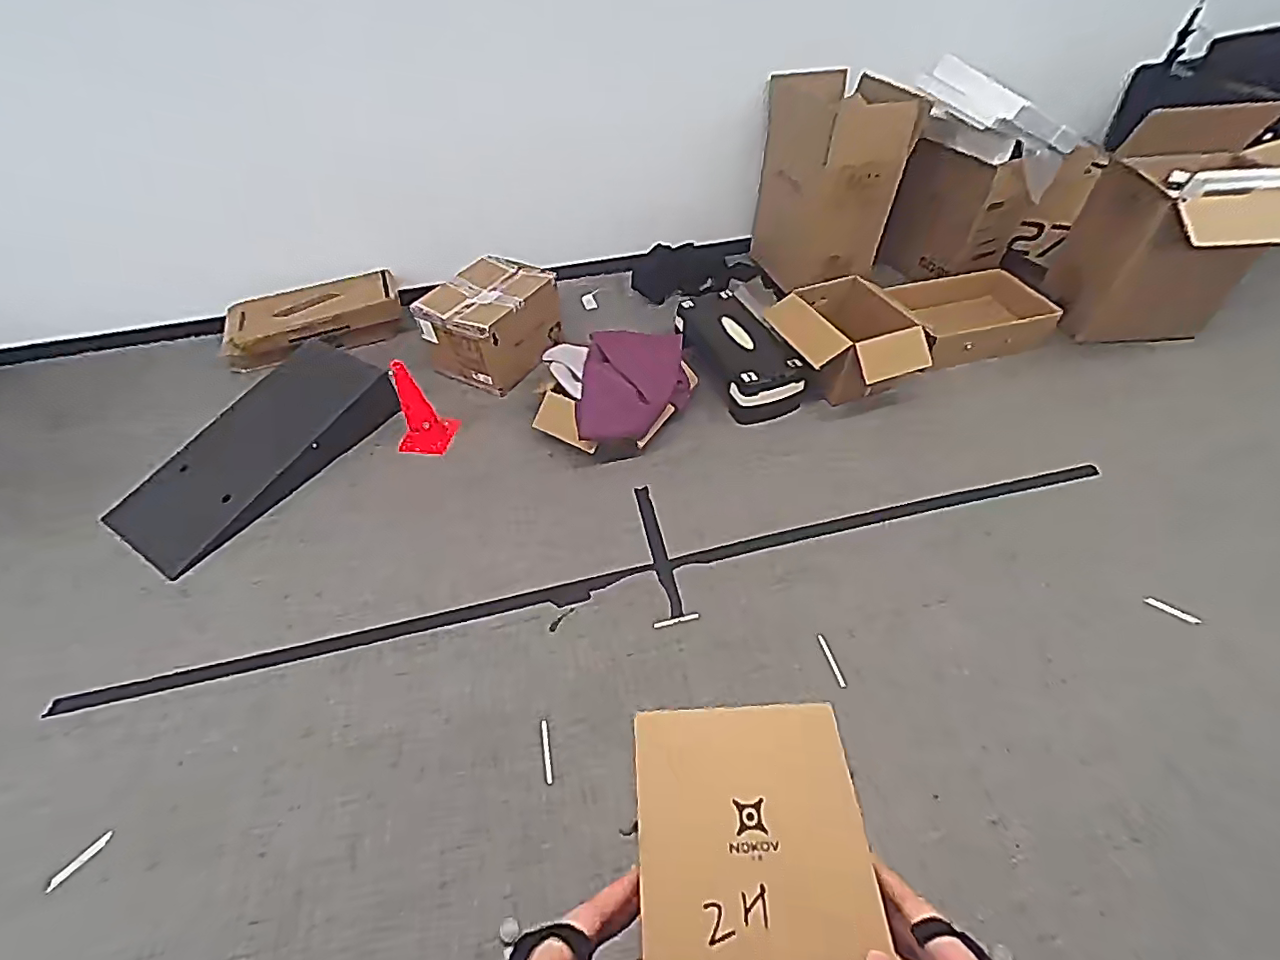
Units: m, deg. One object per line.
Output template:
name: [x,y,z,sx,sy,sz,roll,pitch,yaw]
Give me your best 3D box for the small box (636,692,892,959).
small box: [0.080,0.298,0.462,0.168,0.176,0.179,-2,51,-1]
